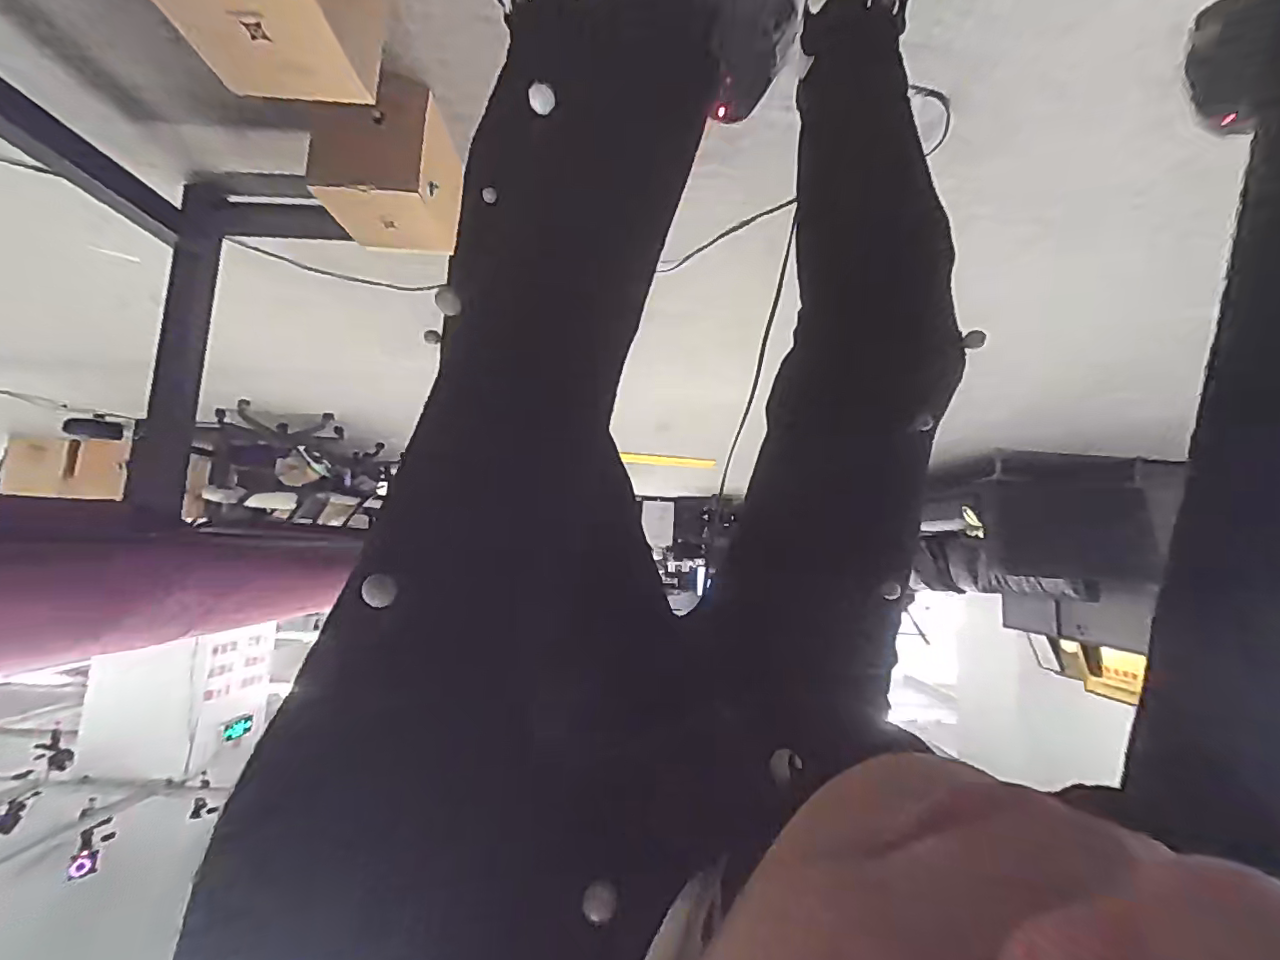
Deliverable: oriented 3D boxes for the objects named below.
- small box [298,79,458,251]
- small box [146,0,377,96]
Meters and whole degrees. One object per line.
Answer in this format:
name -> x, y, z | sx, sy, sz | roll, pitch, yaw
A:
small box -> -0.400, -0.493, 0.859 | 0.168, 0.176, 0.179 | 3, 173, 0
small box -> -0.384, -0.531, 0.536 | 0.168, 0.176, 0.179 | 4, 174, -1
